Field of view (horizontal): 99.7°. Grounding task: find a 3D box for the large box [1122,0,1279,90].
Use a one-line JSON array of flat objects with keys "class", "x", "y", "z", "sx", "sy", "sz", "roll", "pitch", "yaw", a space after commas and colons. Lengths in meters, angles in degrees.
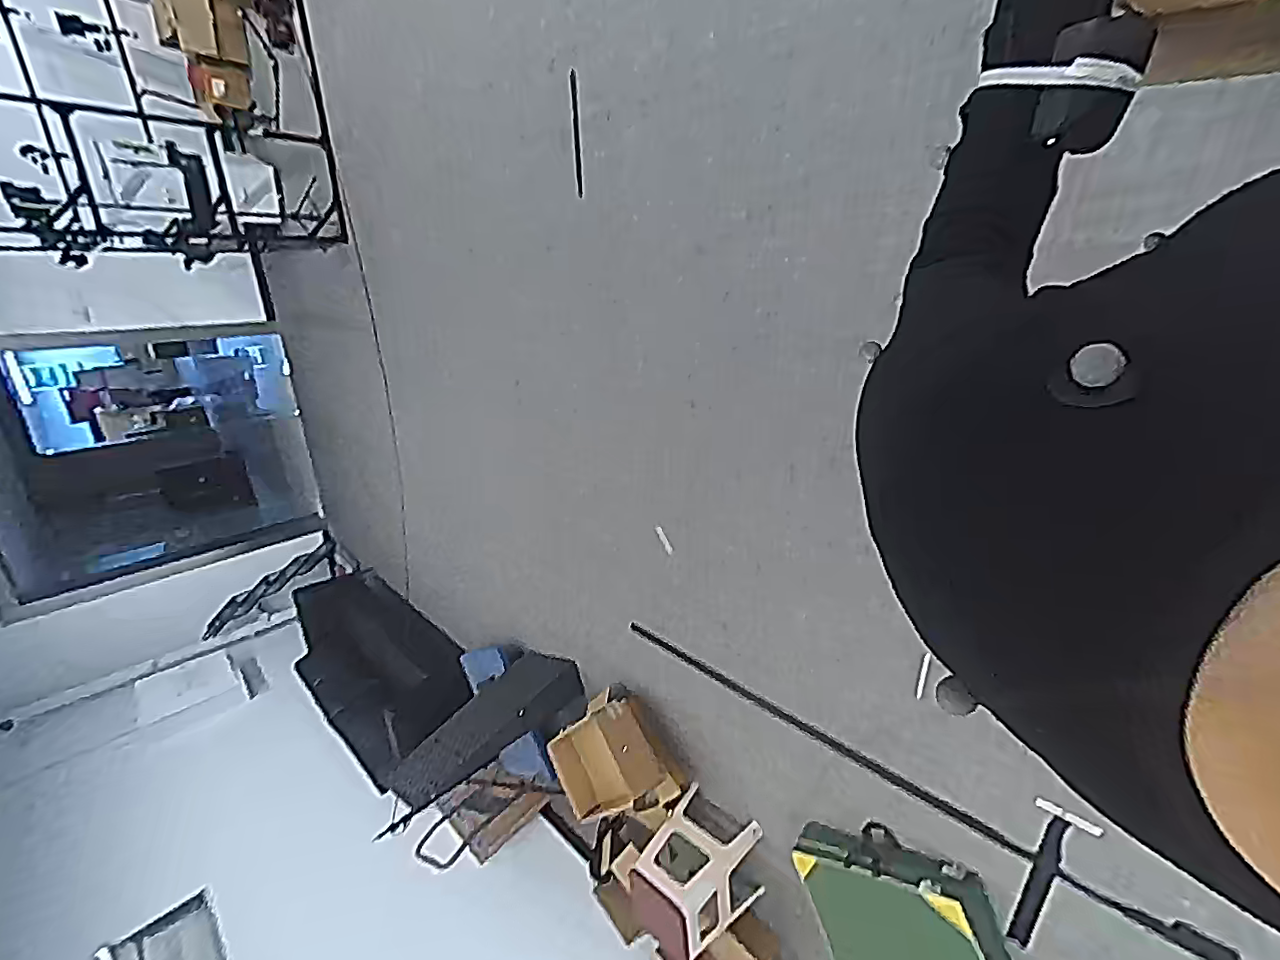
[{"class": "large box", "x": 0.540, "y": -0.426, "z": 0.262, "sx": 0.408, "sy": 0.320, "sz": 0.320, "roll": 19, "pitch": 124, "yaw": 35}]
